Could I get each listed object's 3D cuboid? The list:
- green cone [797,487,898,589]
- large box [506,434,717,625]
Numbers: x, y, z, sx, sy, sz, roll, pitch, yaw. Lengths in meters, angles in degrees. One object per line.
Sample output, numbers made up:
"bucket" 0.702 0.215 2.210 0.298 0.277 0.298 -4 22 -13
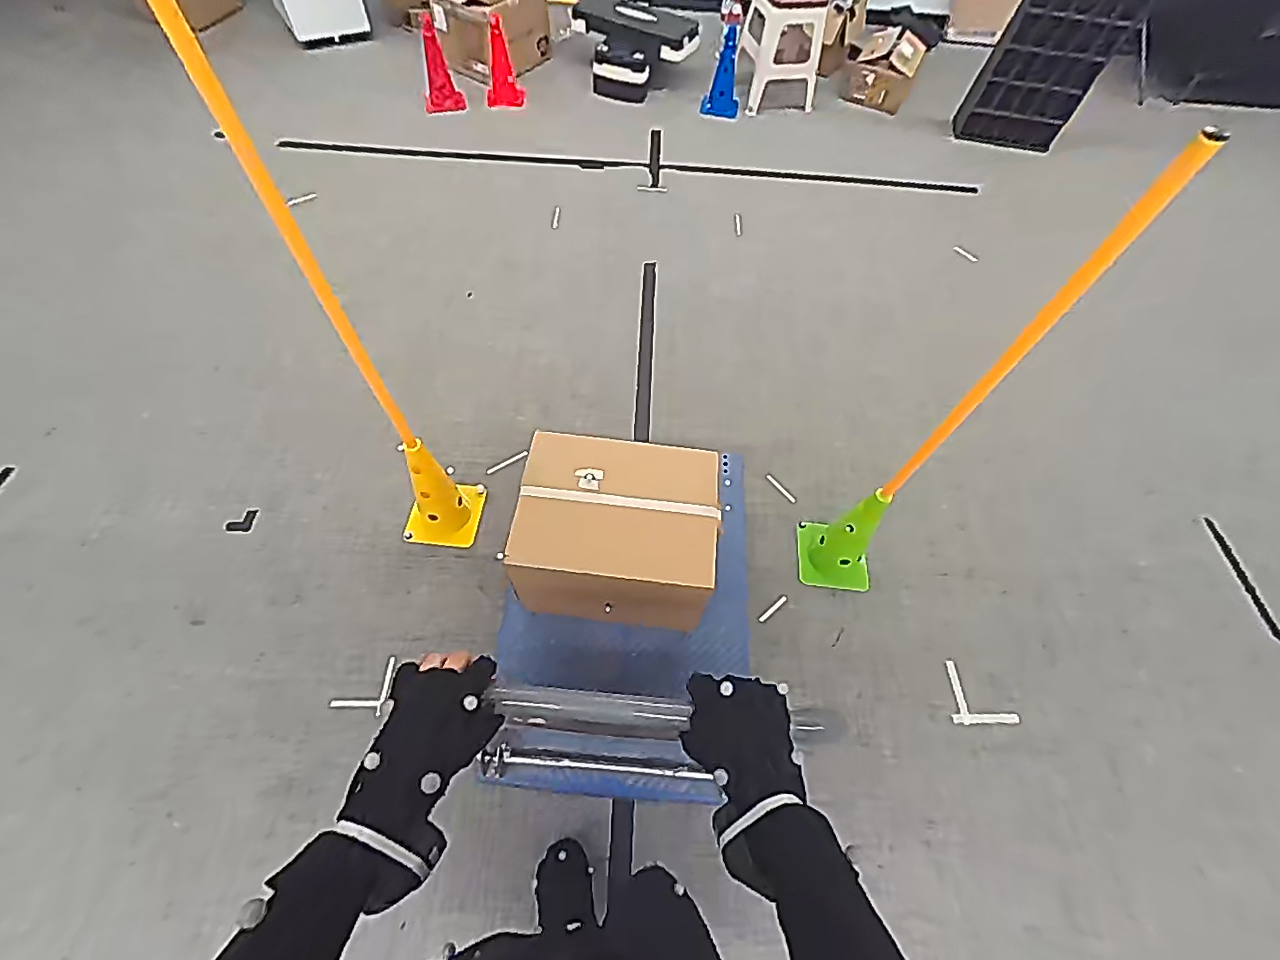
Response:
"green cone" 0.577 0.127 1.439 0.202 0.368 0.200 8 59 -1
"large box" -0.048 0.124 1.229 0.408 0.320 0.320 7 59 1
